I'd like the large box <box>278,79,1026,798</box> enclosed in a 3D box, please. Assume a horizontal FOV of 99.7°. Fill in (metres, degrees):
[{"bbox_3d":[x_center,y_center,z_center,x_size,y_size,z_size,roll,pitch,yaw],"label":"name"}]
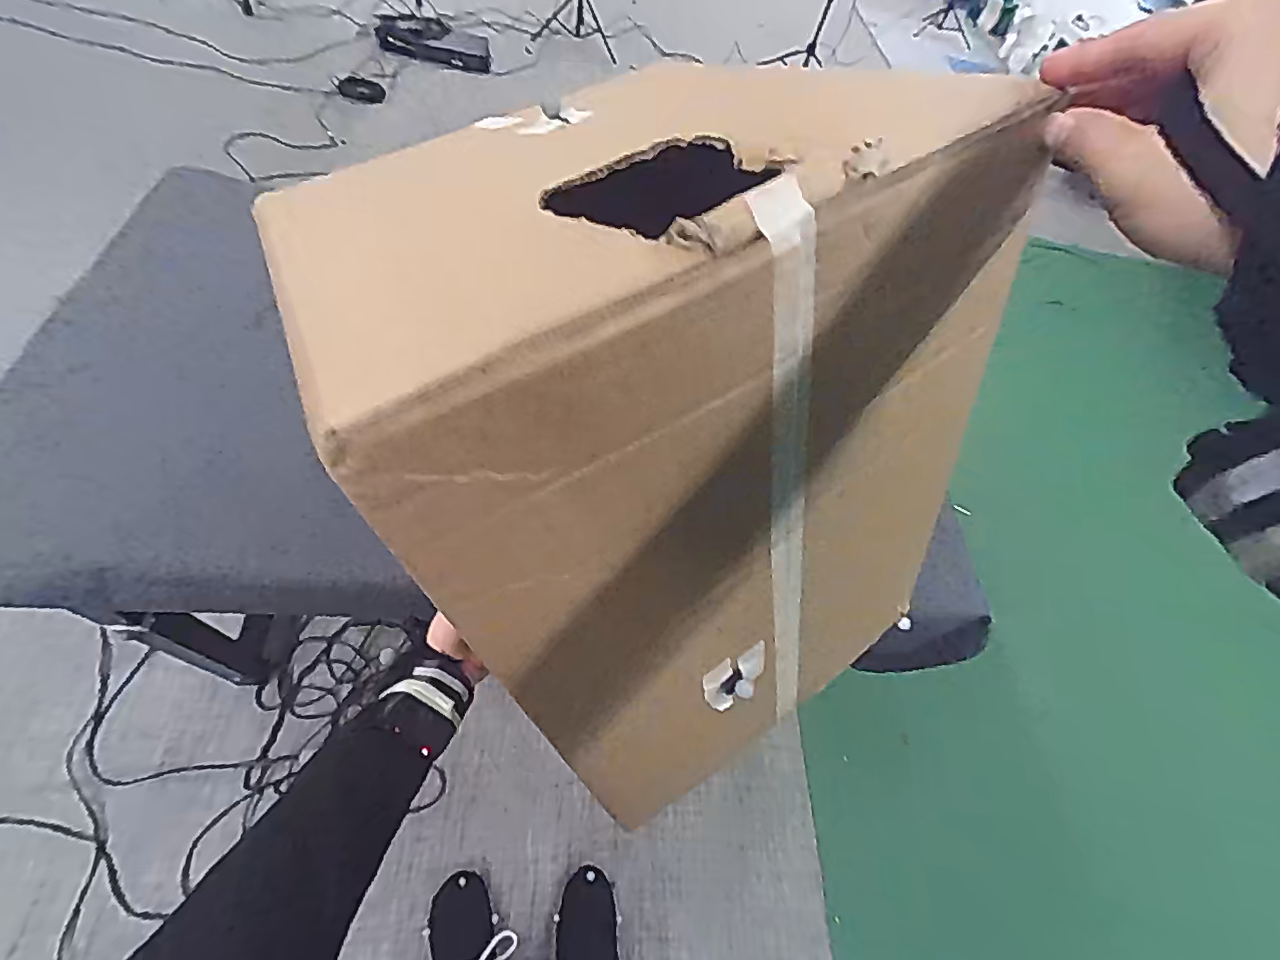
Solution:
[{"bbox_3d":[0.003,-0.031,0.433,0.320,0.408,0.320,-31,48,-16],"label":"large box"}]
